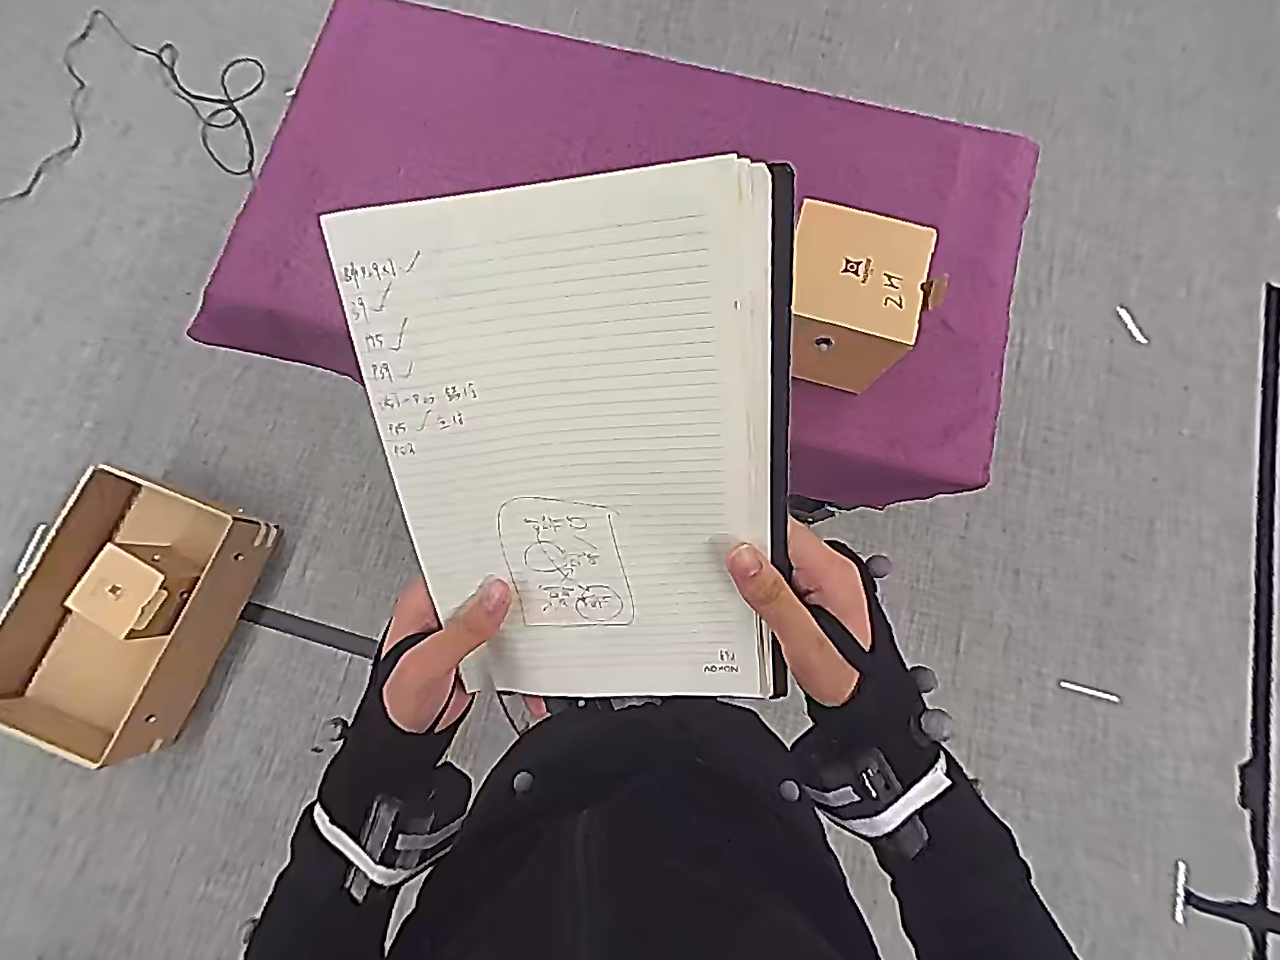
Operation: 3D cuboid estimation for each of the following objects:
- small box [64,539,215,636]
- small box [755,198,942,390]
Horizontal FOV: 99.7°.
[{"bbox_3d":[-1.213,0.259,1.328,0.179,0.176,0.168,29,80,5],"label":"small box"},{"bbox_3d":[0.271,-0.241,0.741,0.179,0.176,0.168,17,79,3],"label":"small box"}]
